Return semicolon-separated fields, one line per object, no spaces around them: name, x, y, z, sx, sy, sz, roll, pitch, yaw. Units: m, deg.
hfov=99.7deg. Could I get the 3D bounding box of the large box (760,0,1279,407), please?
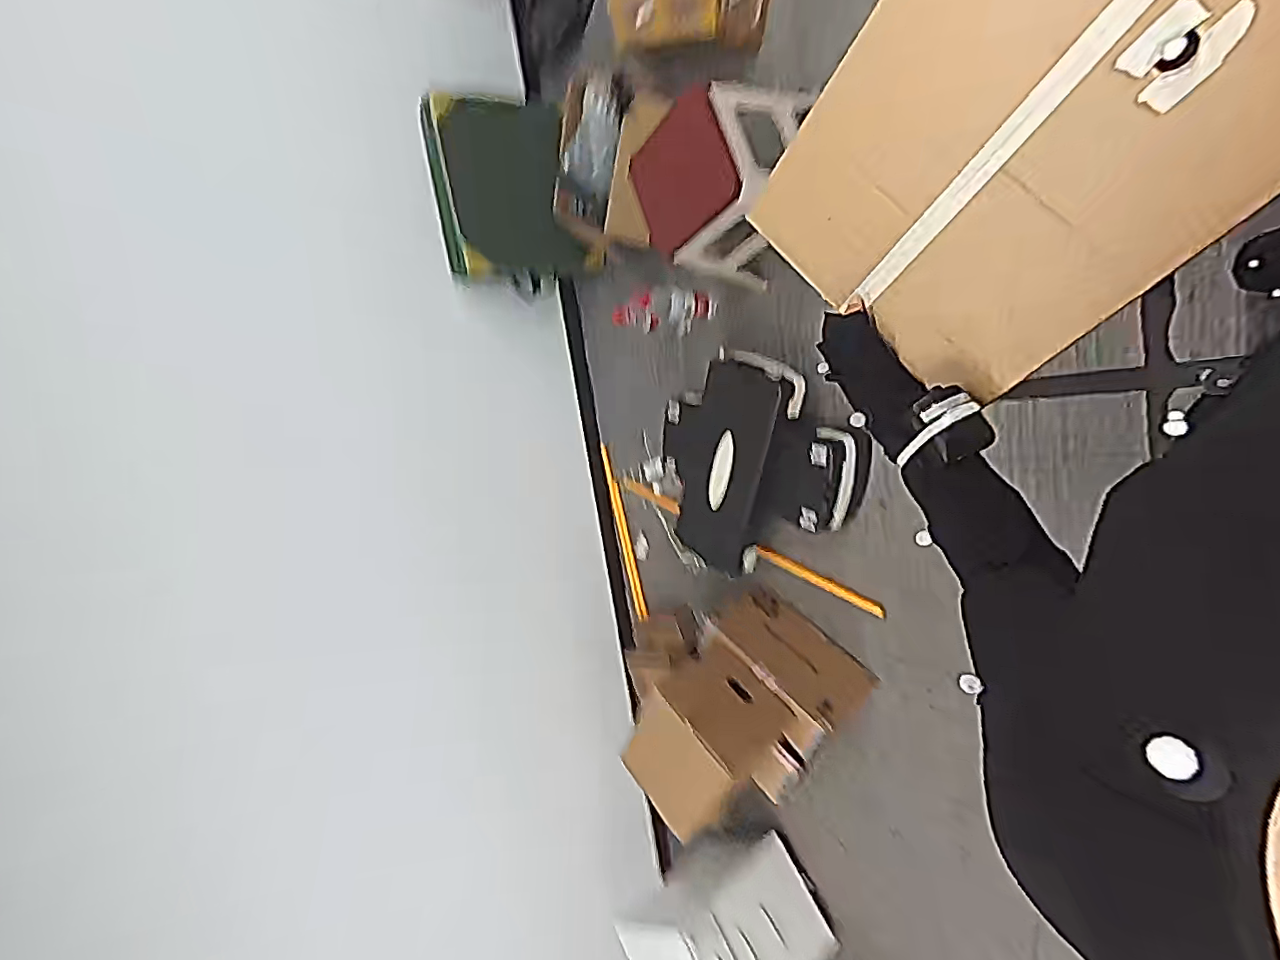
large box;0.399;-0.341;0.505;0.320;0.320;0.408;51;138;10
